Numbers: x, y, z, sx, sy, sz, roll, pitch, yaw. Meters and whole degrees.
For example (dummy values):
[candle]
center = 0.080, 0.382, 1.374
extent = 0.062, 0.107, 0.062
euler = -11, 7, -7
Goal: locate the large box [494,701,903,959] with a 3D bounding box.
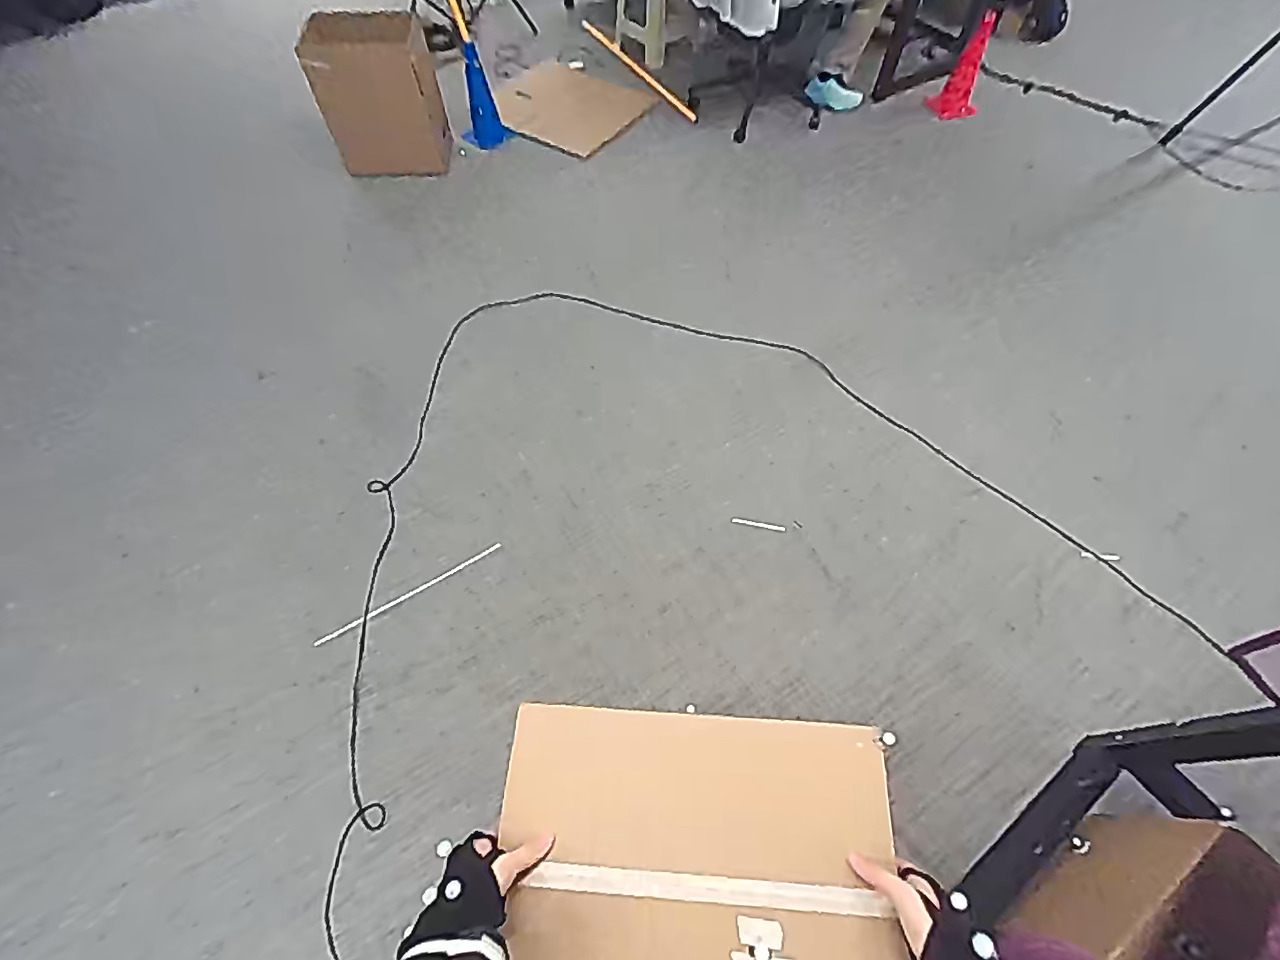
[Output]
[large box]
center = 0.063, 0.465, 0.686
extent = 0.408, 0.320, 0.320
euler = 2, 66, 4
